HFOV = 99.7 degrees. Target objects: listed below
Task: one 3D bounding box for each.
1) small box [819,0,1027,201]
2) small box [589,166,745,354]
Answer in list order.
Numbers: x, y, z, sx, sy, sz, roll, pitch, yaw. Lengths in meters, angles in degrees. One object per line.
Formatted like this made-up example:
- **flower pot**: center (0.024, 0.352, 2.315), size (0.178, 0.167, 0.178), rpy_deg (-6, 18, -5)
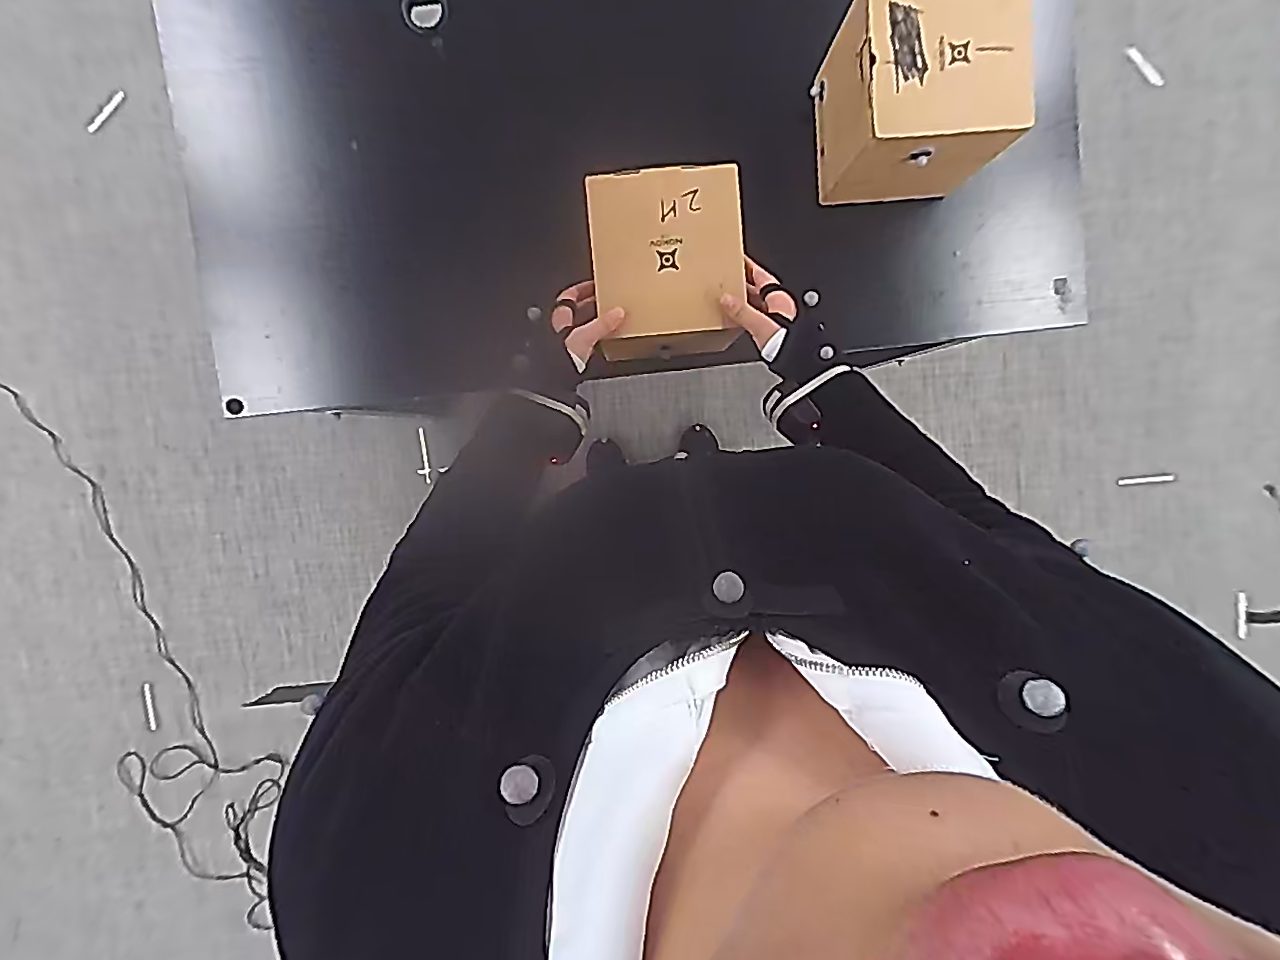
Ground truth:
- **small box**: center (0.327, -0.459, 0.658), size (0.179, 0.176, 0.168), rpy_deg (-4, 94, 0)
- **small box**: center (0.031, -0.256, 0.673), size (0.168, 0.176, 0.179), rpy_deg (-5, 94, 0)
